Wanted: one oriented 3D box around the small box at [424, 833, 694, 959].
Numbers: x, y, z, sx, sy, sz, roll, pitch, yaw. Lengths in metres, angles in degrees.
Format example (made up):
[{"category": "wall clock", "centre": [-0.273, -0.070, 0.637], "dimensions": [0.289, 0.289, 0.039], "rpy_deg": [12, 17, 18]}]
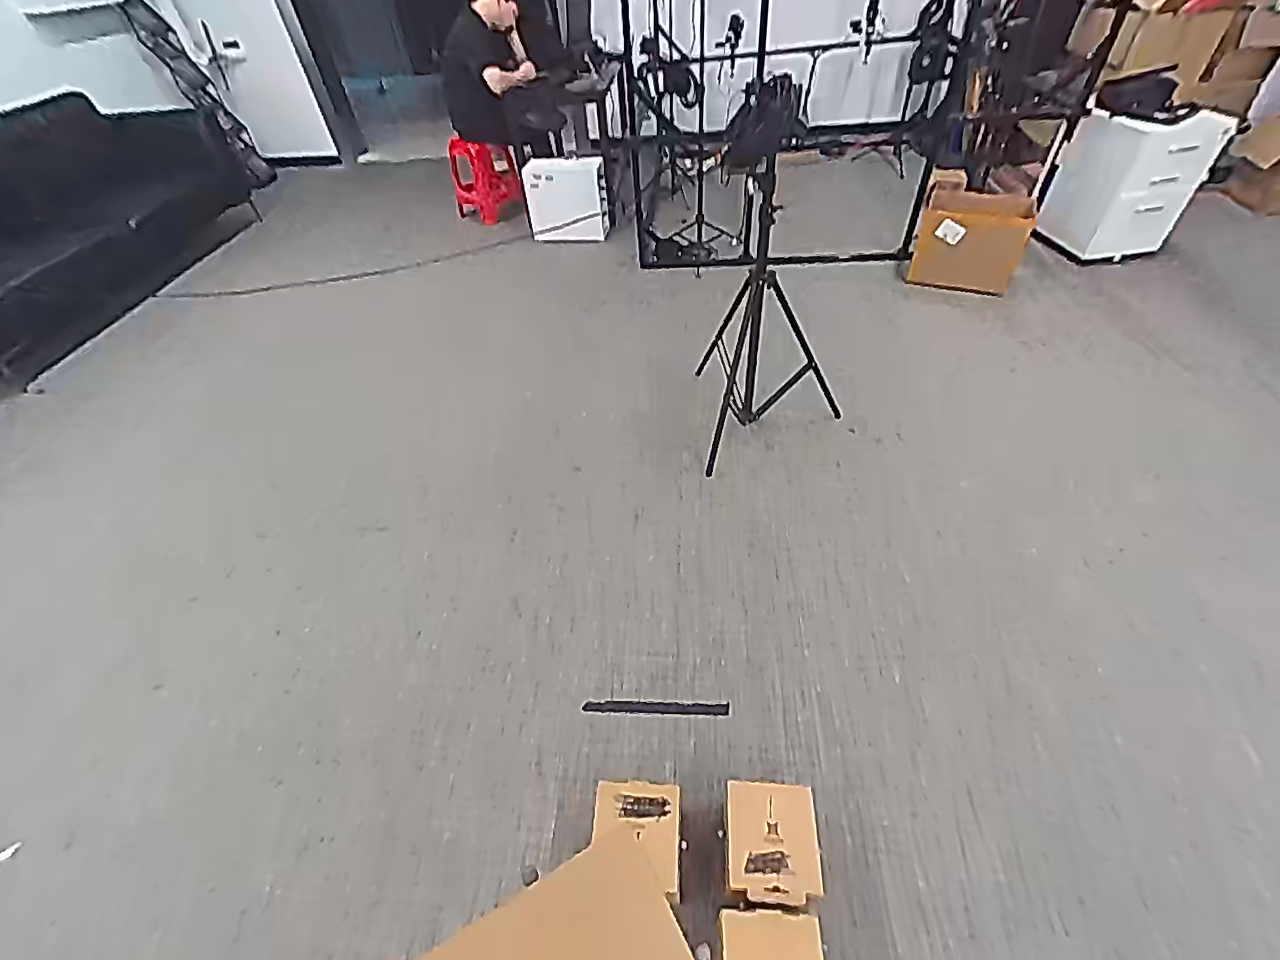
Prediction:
[{"category": "small box", "centre": [-0.043, 0.368, 0.349], "dimensions": [0.179, 0.176, 0.168], "rpy_deg": [-24, 54, -18]}]
